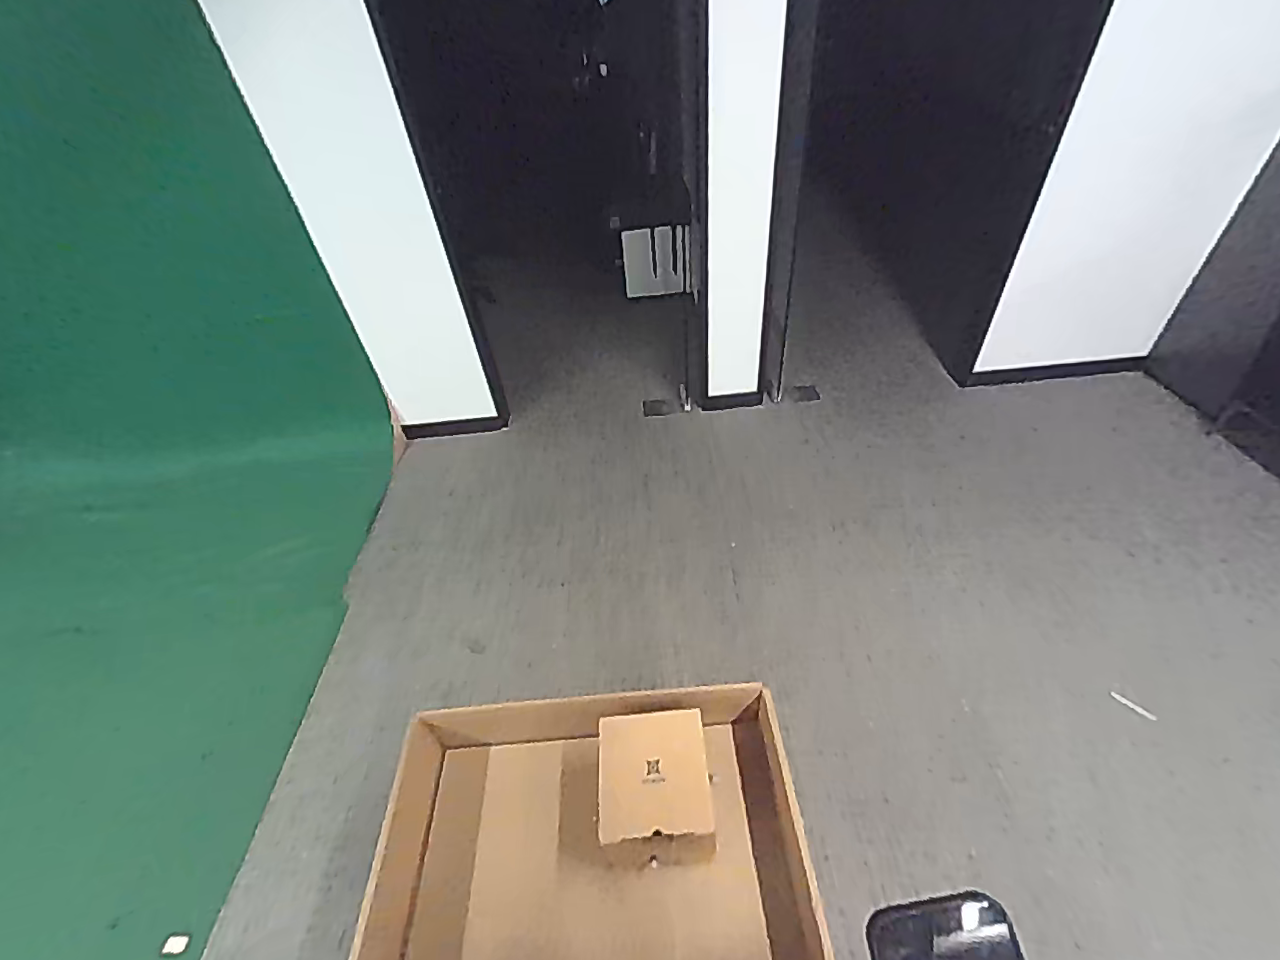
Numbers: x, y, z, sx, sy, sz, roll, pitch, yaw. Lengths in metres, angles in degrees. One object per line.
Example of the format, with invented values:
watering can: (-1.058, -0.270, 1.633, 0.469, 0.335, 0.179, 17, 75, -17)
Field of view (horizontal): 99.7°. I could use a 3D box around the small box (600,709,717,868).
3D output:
small box: (0.029, 0.492, 0.863, 0.168, 0.176, 0.179, -6, 44, 2)
